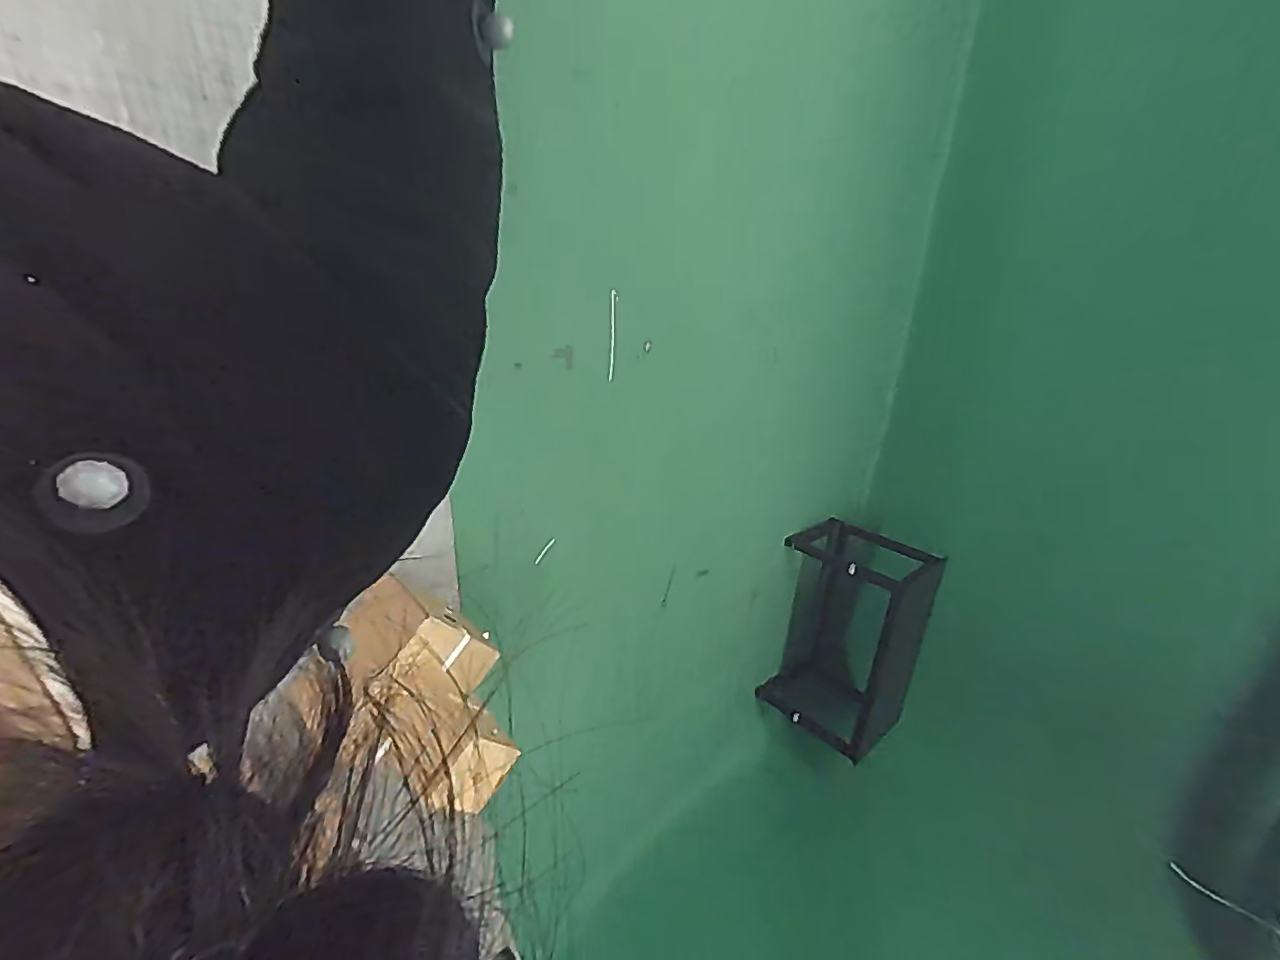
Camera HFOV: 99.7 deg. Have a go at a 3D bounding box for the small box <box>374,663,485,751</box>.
[{"bbox_3d":[-0.545,0.606,1.403,0.168,0.176,0.179,-51,135,-17],"label":"small box"}]

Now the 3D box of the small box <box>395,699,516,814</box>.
[{"bbox_3d":[-0.439,0.654,1.289,0.168,0.176,0.179,-53,136,-15],"label":"small box"}]

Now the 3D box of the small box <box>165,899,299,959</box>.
[{"bbox_3d":[-0.855,1.020,1.115,0.179,0.176,0.168,-46,133,-22],"label":"small box"}]
